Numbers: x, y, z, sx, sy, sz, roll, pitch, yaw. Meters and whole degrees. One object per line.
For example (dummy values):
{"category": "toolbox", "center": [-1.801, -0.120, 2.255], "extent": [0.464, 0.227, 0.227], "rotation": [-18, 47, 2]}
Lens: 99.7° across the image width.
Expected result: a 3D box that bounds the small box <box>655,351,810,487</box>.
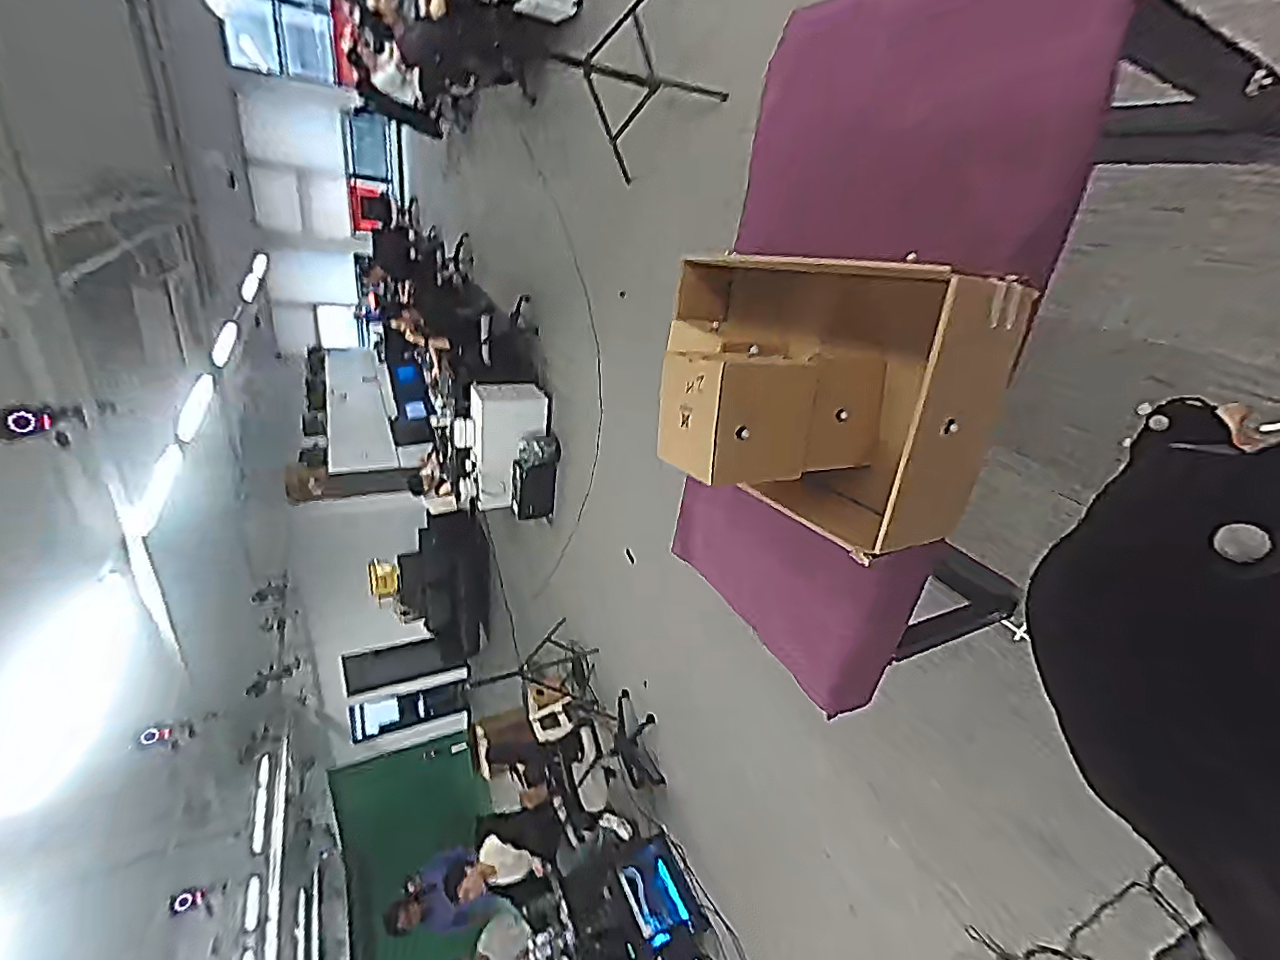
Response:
{"category": "small box", "center": [0.138, -0.102, 0.833], "extent": [0.168, 0.176, 0.179], "rotation": [33, 124, 58]}
